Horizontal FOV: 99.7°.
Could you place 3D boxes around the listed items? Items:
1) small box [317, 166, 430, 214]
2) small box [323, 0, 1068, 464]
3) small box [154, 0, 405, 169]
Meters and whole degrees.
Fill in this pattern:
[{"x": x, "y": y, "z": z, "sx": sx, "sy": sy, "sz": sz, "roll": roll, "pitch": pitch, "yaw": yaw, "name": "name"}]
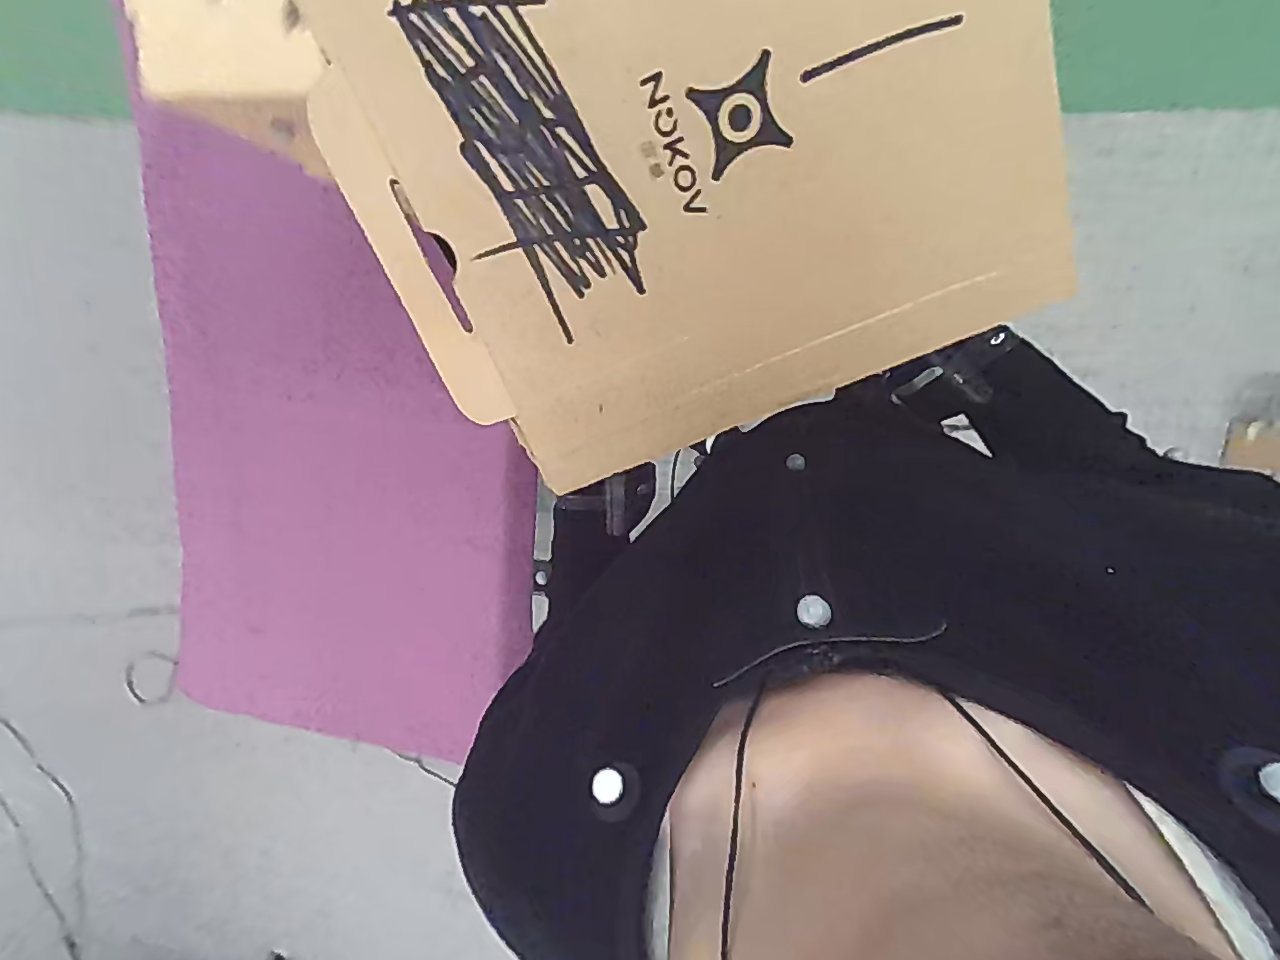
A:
[{"x": -0.280, "y": -0.449, "z": 0.679, "sx": 0.168, "sy": 0.176, "sz": 0.179, "roll": 4, "pitch": 105, "yaw": 10, "name": "small box"}, {"x": 0.023, "y": -0.132, "z": 0.225, "sx": 0.179, "sy": 0.176, "sz": 0.168, "roll": -20, "pitch": 111, "yaw": 10, "name": "small box"}, {"x": -0.315, "y": -0.414, "z": 0.522, "sx": 0.179, "sy": 0.176, "sz": 0.168, "roll": 5, "pitch": 105, "yaw": 11, "name": "small box"}]
